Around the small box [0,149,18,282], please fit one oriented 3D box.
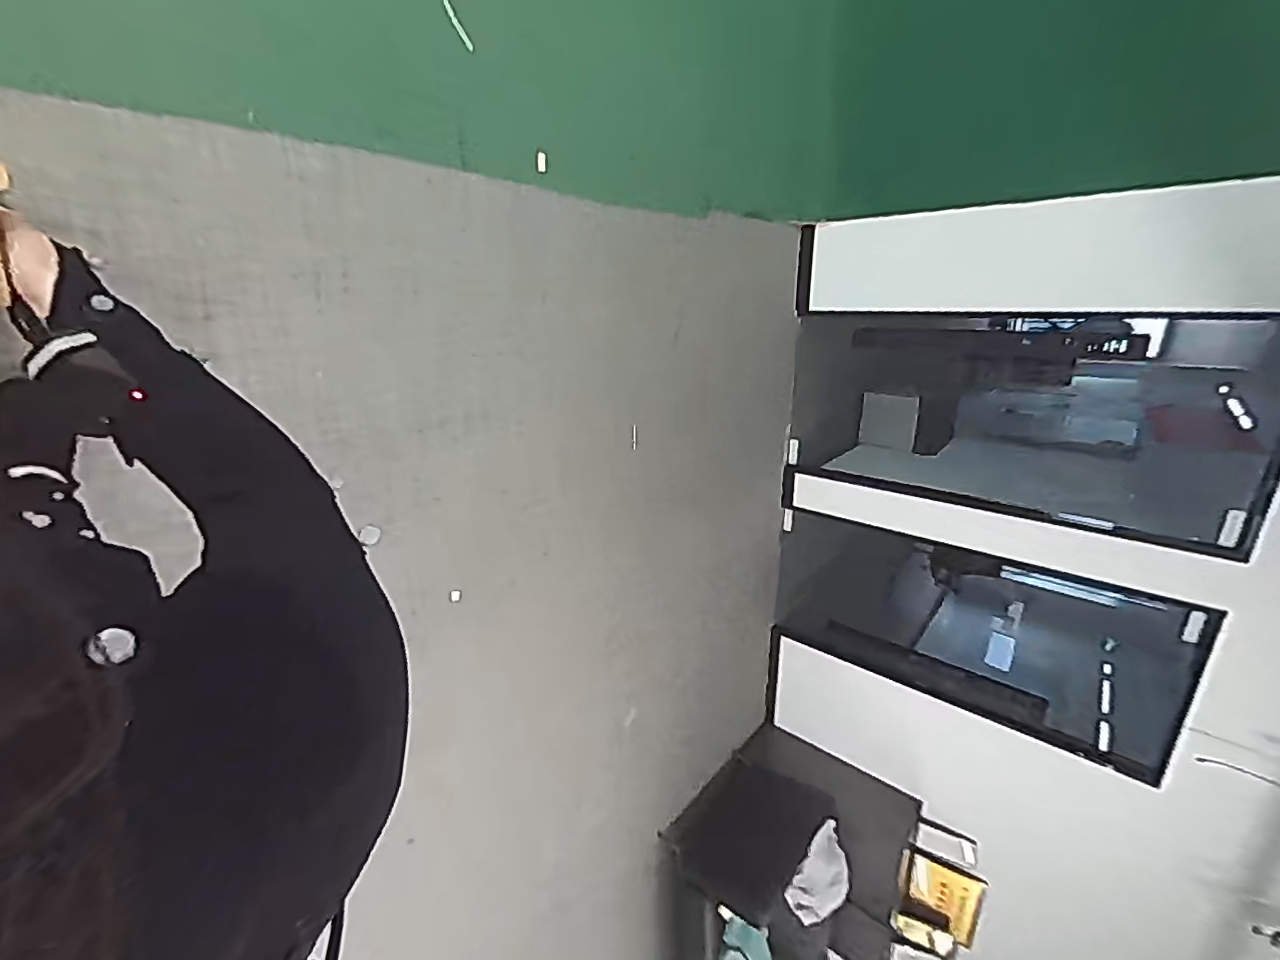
[{"bbox_3d":[-0.930,-0.353,0.687,0.179,0.176,0.168,-5,107,-50],"label":"small box"}]
